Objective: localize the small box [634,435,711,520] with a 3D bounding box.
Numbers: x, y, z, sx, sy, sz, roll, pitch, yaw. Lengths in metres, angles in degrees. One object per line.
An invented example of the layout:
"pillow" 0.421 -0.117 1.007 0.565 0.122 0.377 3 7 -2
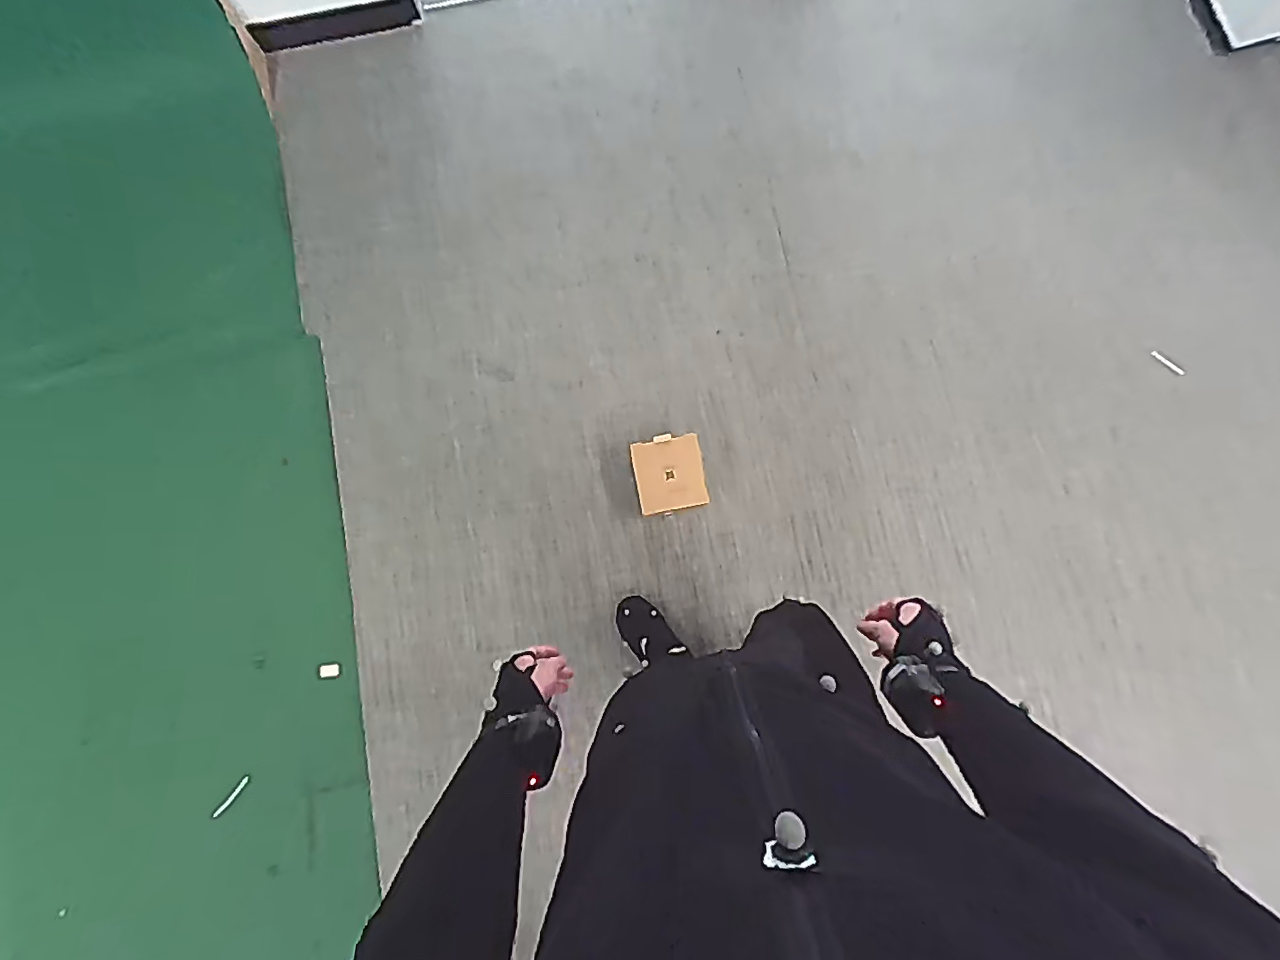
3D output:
"small box" 0.078 0.000 1.355 0.168 0.176 0.179 -9 82 1
